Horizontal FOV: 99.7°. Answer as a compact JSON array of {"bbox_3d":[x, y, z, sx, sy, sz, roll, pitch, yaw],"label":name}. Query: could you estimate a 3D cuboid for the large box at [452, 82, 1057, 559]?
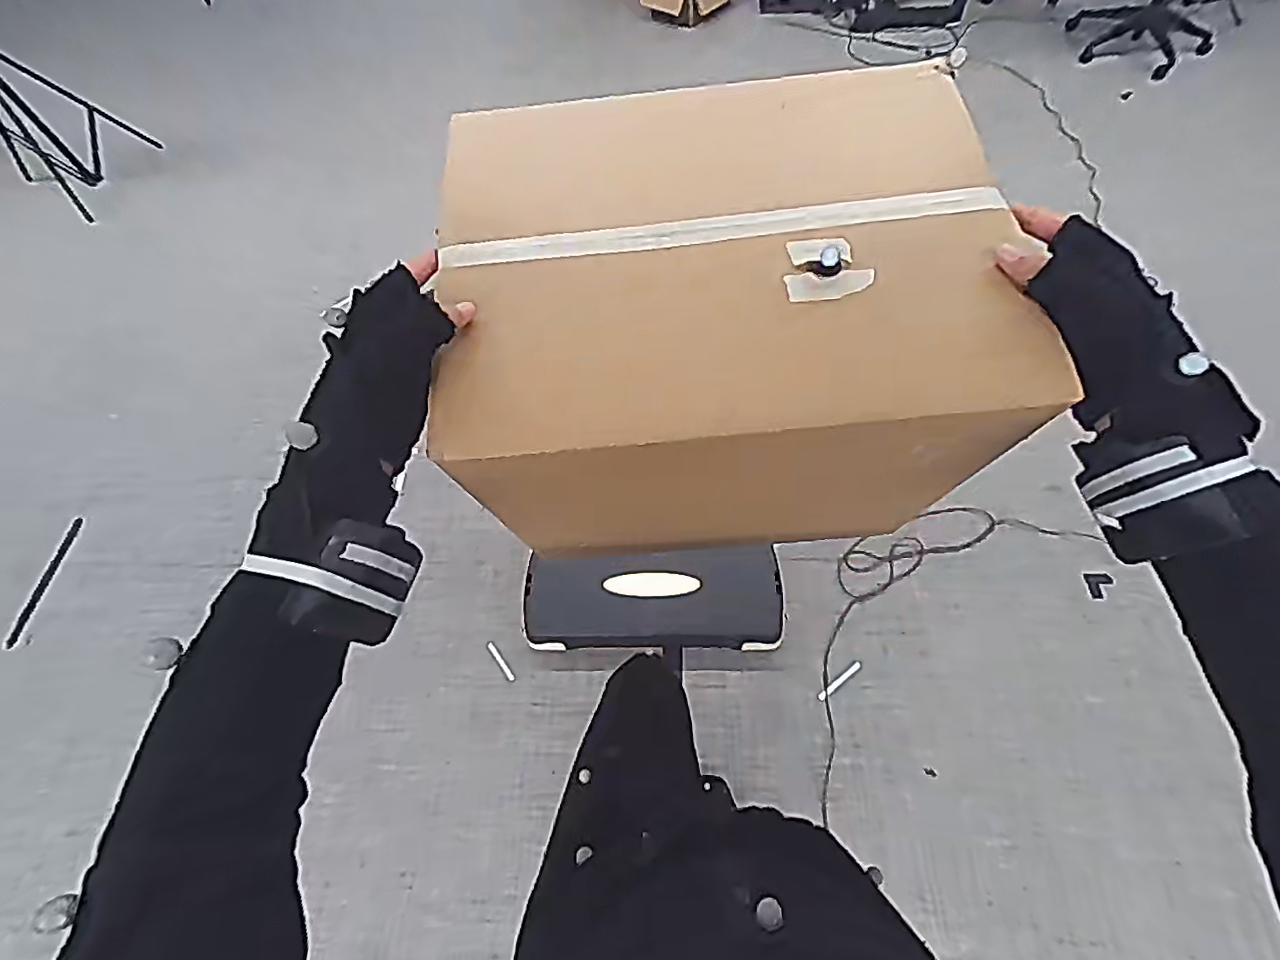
[{"bbox_3d":[0.066,-0.120,0.541,0.408,0.320,0.320,-5,70,1],"label":"large box"}]
